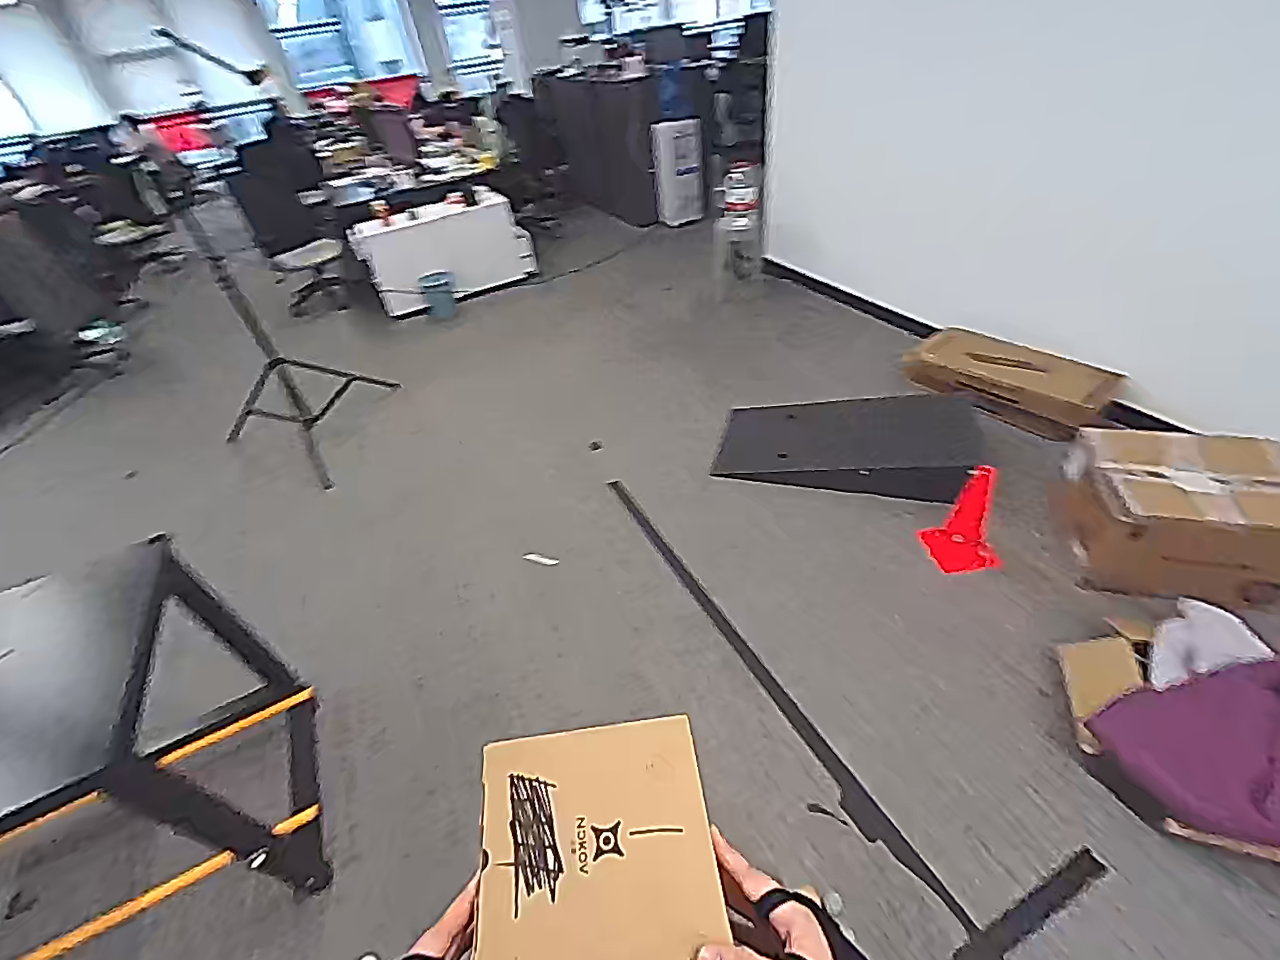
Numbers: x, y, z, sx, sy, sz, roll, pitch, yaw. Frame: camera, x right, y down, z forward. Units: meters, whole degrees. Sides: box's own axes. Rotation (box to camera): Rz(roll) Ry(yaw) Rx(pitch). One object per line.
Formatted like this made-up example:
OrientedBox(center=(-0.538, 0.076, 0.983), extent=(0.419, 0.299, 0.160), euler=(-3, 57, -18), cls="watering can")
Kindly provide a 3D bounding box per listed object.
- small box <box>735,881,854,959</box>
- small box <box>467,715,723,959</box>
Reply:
OrientedBox(center=(0.305, 0.942, 1.061), extent=(0.179, 0.176, 0.168), euler=(-22, 42, -14), cls="small box")
OrientedBox(center=(-0.038, 0.328, 0.467), extent=(0.179, 0.176, 0.168), euler=(-6, 47, -6), cls="small box")
